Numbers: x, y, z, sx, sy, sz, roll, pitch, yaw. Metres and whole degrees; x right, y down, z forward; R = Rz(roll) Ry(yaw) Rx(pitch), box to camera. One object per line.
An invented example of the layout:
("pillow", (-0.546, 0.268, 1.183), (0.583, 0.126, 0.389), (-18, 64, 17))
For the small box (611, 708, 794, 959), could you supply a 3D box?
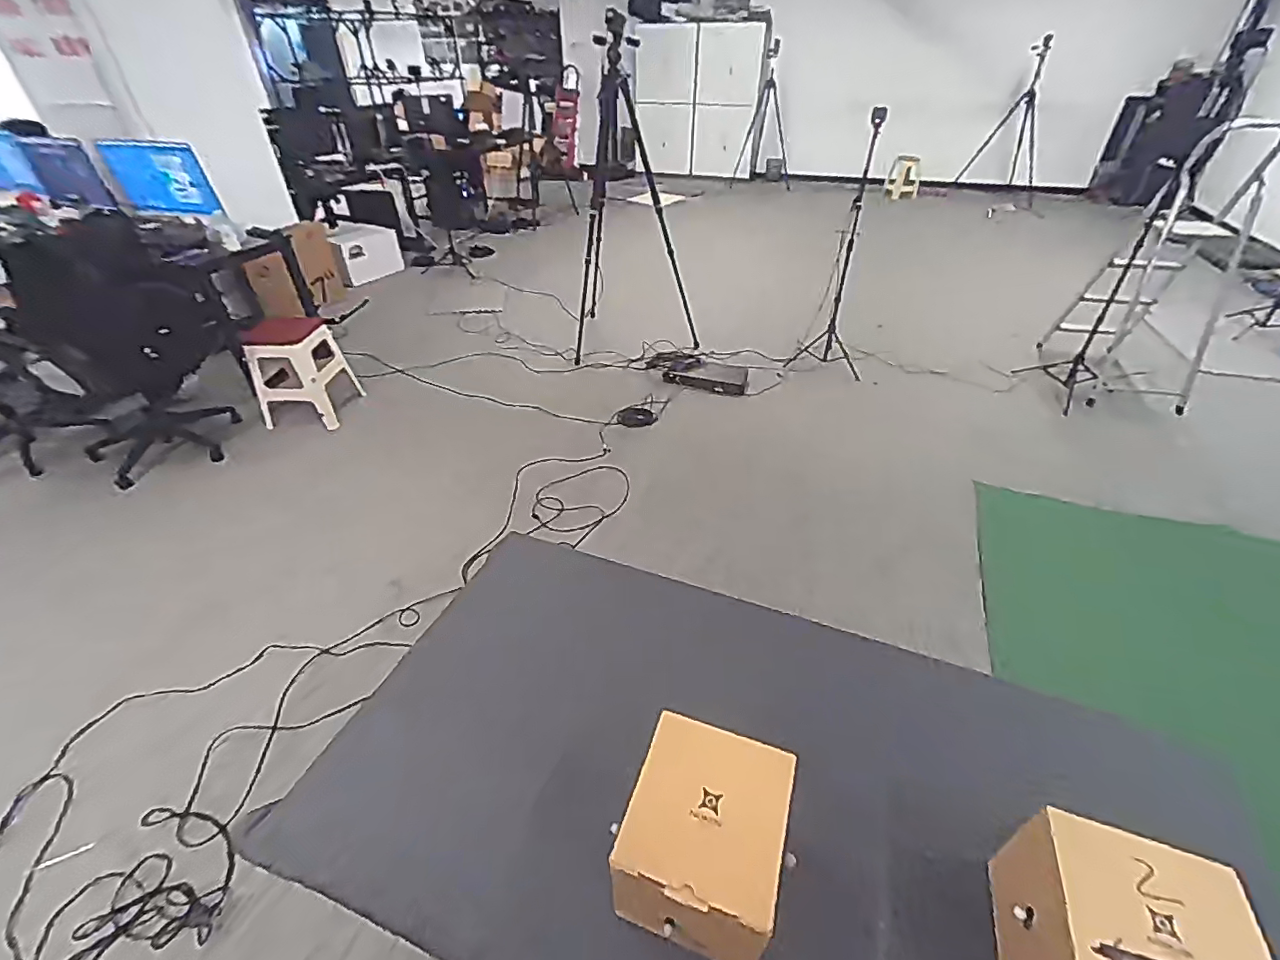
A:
("small box", (0.072, 0.412, 0.635), (0.168, 0.176, 0.179), (13, 41, 15))
